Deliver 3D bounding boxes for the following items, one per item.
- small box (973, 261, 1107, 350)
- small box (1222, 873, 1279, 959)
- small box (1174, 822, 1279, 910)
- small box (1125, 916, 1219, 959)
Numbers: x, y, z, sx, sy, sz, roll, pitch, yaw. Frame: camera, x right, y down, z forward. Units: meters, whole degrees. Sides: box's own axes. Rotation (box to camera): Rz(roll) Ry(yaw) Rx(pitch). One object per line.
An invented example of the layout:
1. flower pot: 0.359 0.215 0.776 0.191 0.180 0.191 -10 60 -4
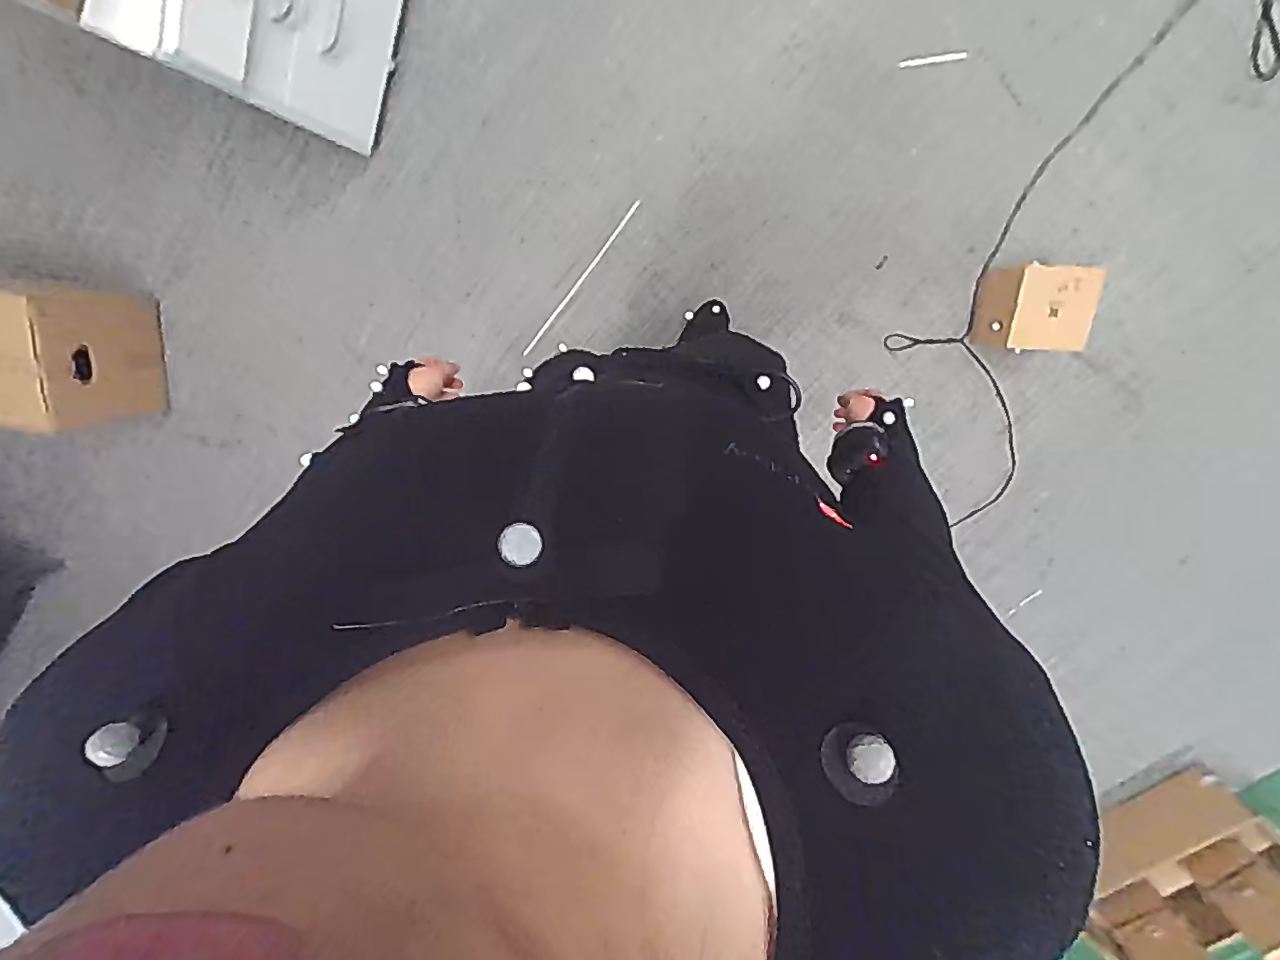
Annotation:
1. small box: 0.888 -0.394 1.222 0.168 0.176 0.179 3 108 3
2. small box: 1.731 1.190 1.421 0.179 0.176 0.168 36 108 -4
3. small box: 1.752 1.154 1.581 0.179 0.176 0.168 38 108 -6
4. small box: 1.526 1.374 1.500 0.179 0.176 0.168 44 105 -6
